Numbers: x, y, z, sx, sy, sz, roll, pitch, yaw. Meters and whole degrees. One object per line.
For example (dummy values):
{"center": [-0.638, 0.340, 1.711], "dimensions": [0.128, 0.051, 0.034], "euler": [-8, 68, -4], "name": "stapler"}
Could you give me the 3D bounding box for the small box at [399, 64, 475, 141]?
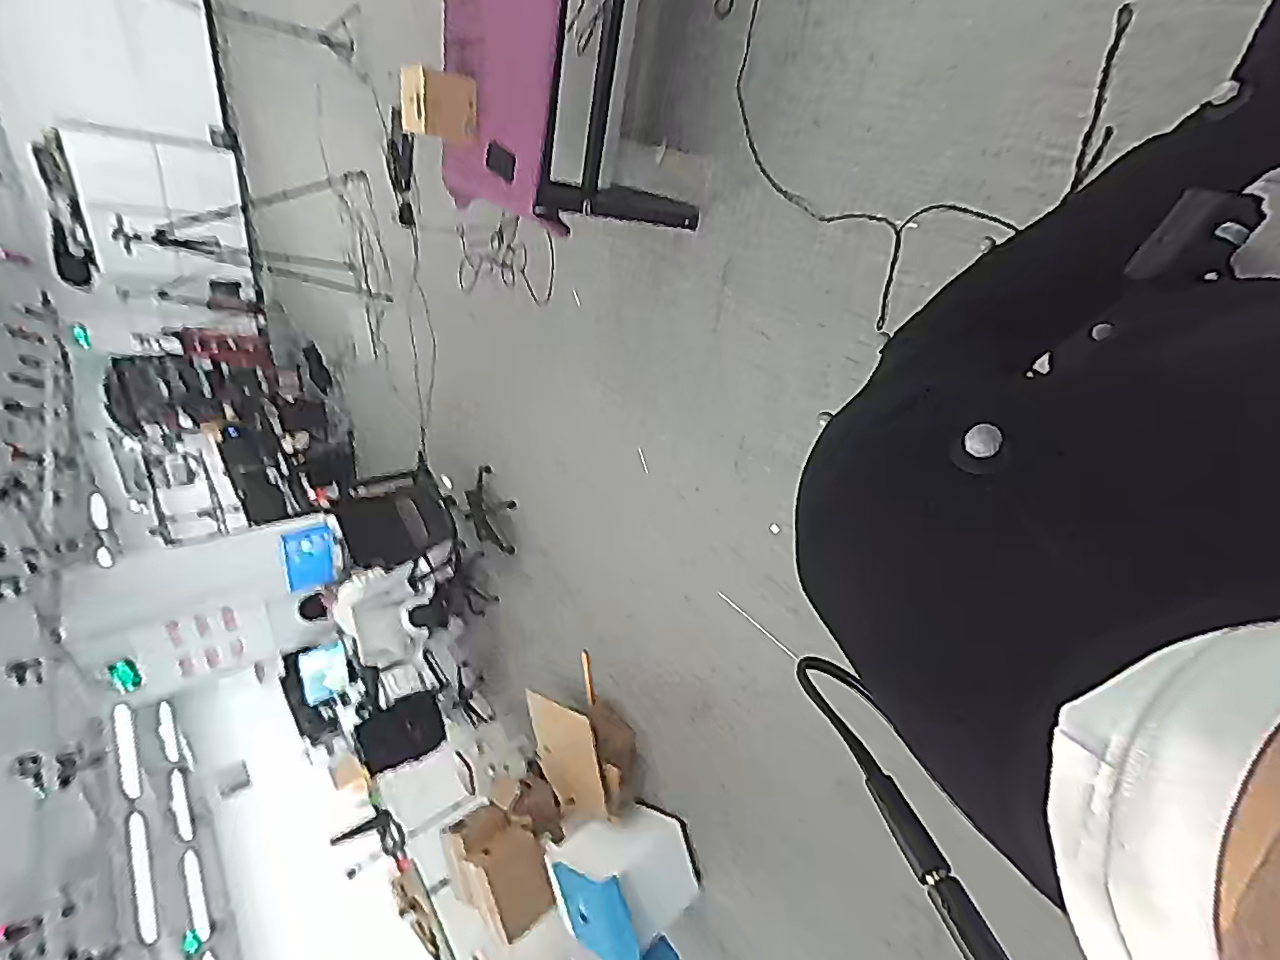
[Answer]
{"center": [-0.623, -1.162, 1.668], "dimensions": [0.179, 0.176, 0.168], "euler": [35, 125, 38], "name": "small box"}
